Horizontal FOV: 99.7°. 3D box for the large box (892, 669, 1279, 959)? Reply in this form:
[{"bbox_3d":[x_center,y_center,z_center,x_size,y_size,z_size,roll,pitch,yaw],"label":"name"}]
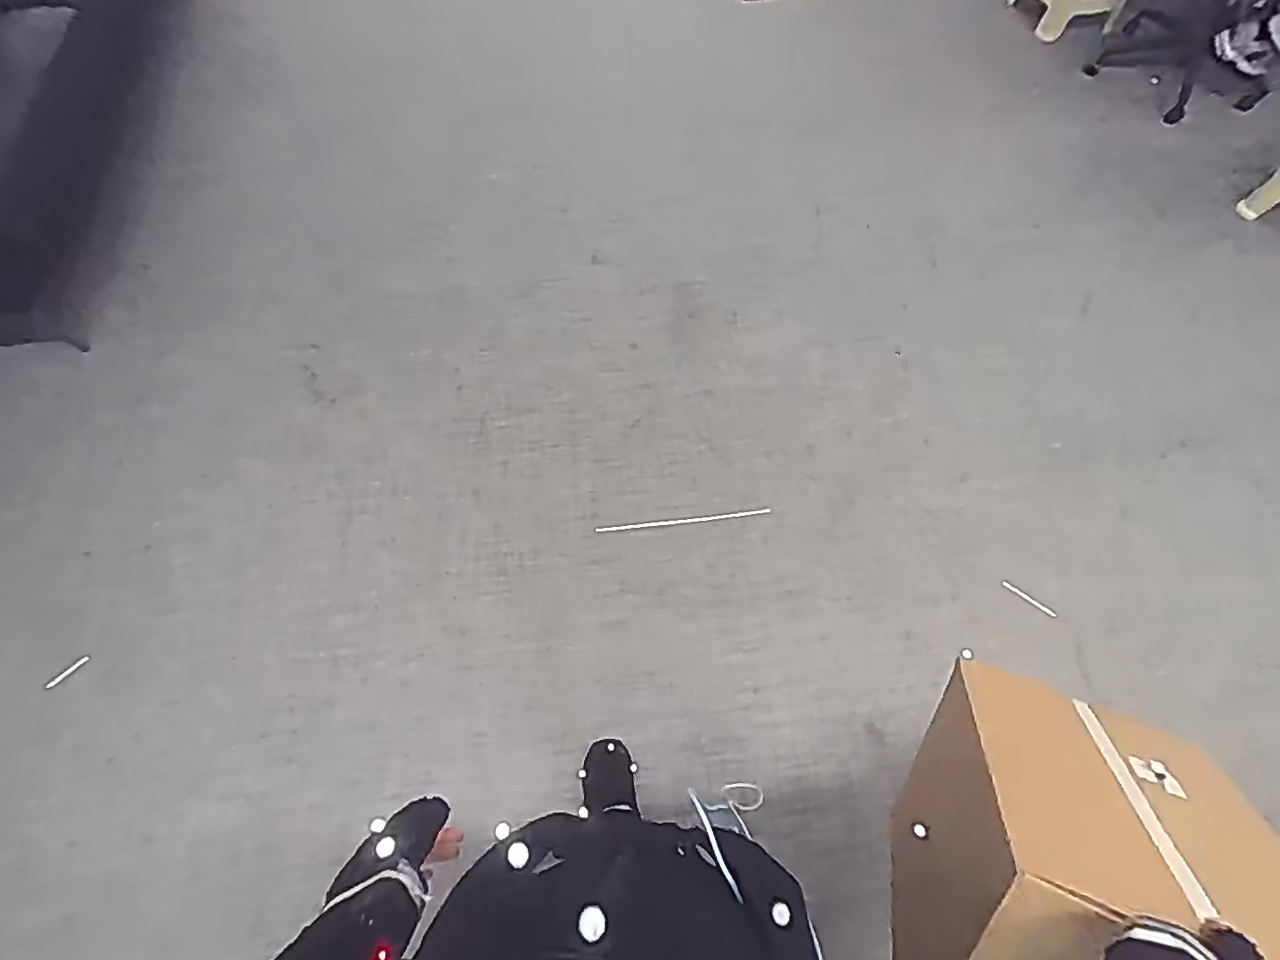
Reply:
[{"bbox_3d":[0.520,0.513,0.653,0.320,0.408,0.320,20,107,19],"label":"large box"}]
